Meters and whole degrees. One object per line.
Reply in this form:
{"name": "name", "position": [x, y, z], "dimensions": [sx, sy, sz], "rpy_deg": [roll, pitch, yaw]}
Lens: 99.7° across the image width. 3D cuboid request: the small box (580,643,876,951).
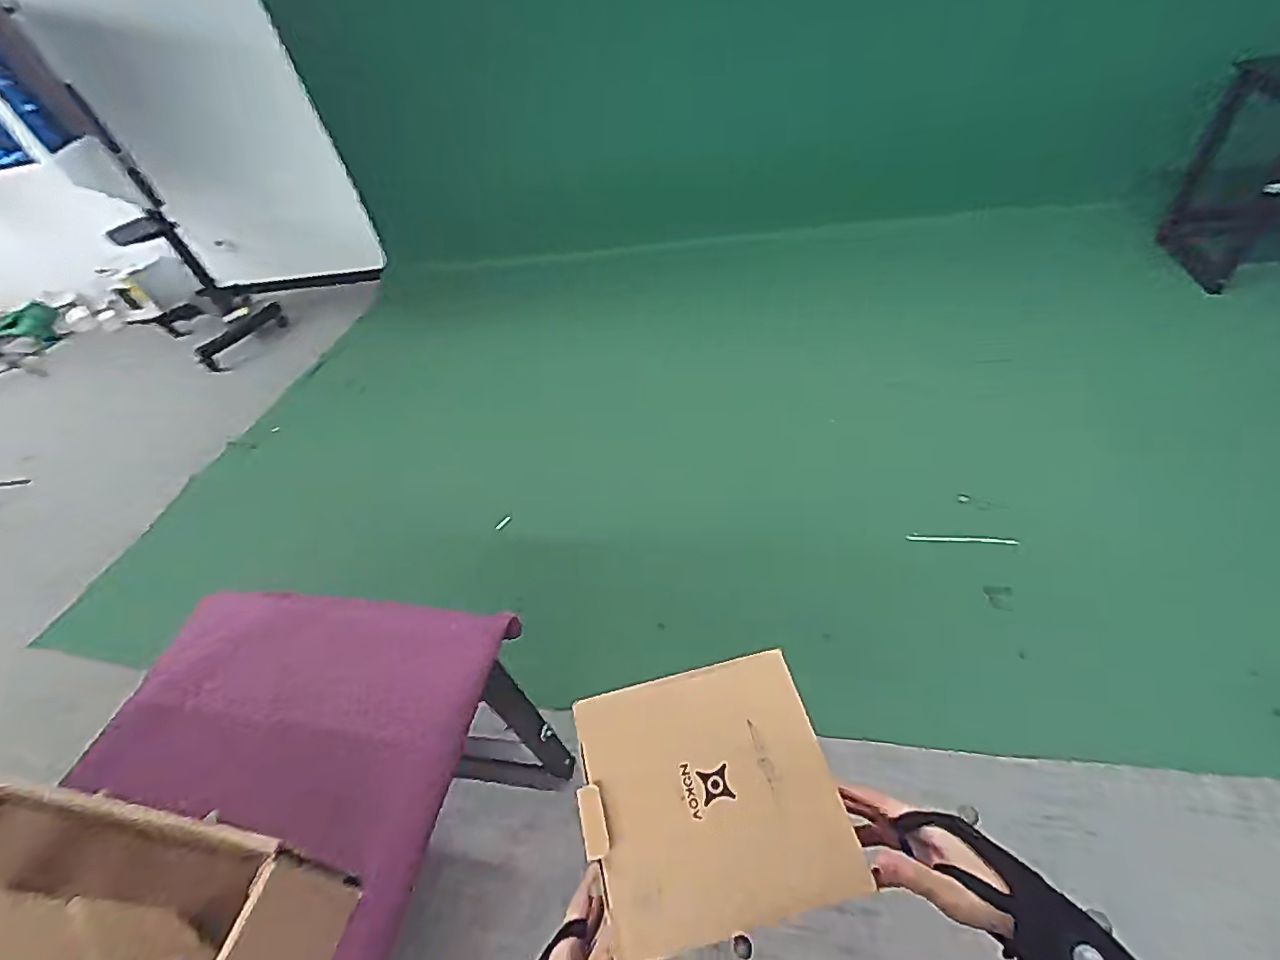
{"name": "small box", "position": [0.057, 0.261, 0.450], "dimensions": [0.179, 0.176, 0.168], "rpy_deg": [-12, 53, -6]}
